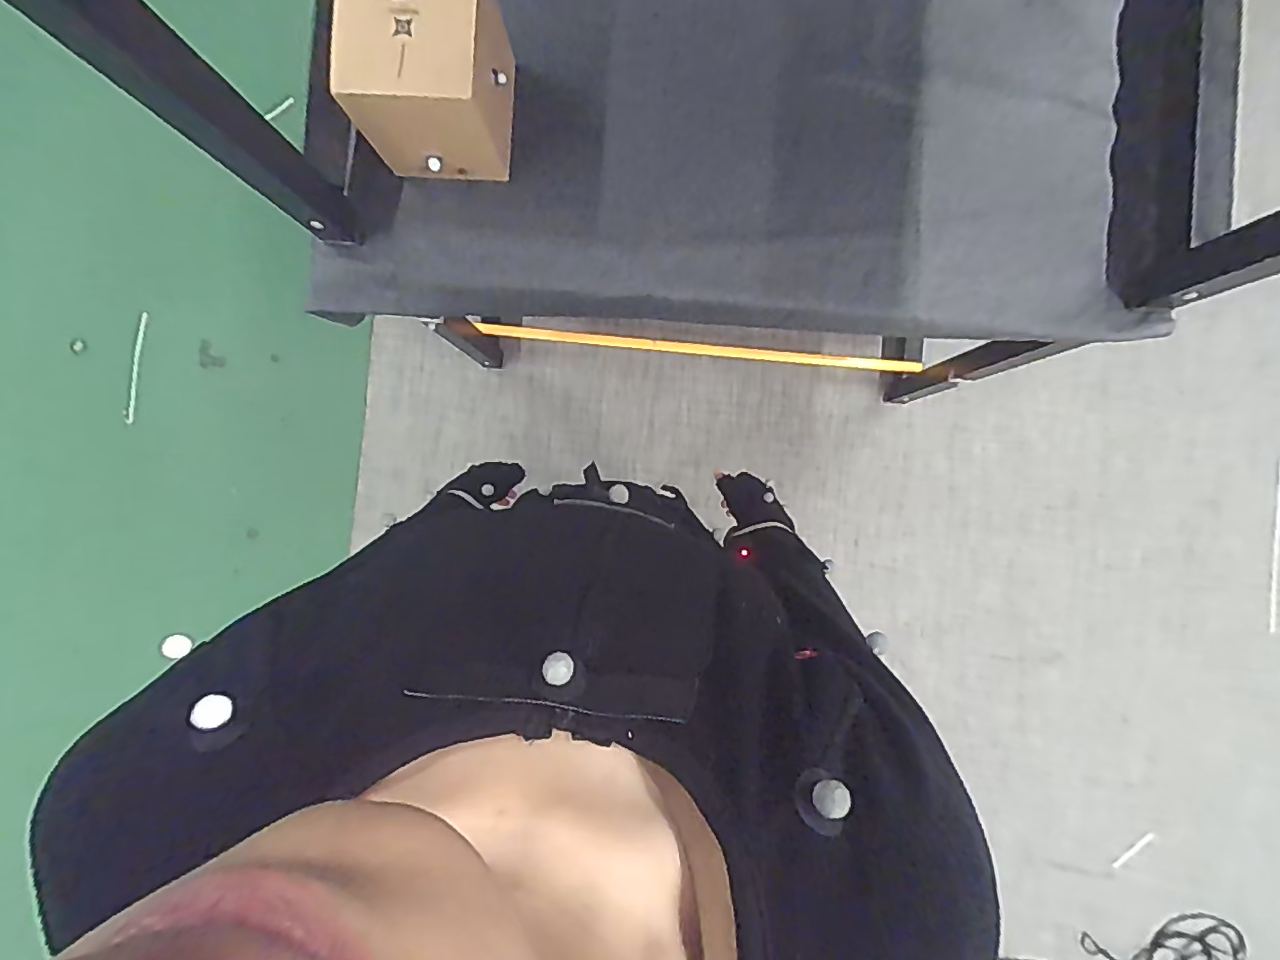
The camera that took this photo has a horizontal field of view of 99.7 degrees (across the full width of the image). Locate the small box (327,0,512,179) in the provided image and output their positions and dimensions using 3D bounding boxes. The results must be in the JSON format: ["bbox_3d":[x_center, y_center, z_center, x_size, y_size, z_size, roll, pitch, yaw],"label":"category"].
[{"bbox_3d":[-0.265,-0.520,0.688,0.168,0.176,0.179,3,89,1],"label":"small box"}]
